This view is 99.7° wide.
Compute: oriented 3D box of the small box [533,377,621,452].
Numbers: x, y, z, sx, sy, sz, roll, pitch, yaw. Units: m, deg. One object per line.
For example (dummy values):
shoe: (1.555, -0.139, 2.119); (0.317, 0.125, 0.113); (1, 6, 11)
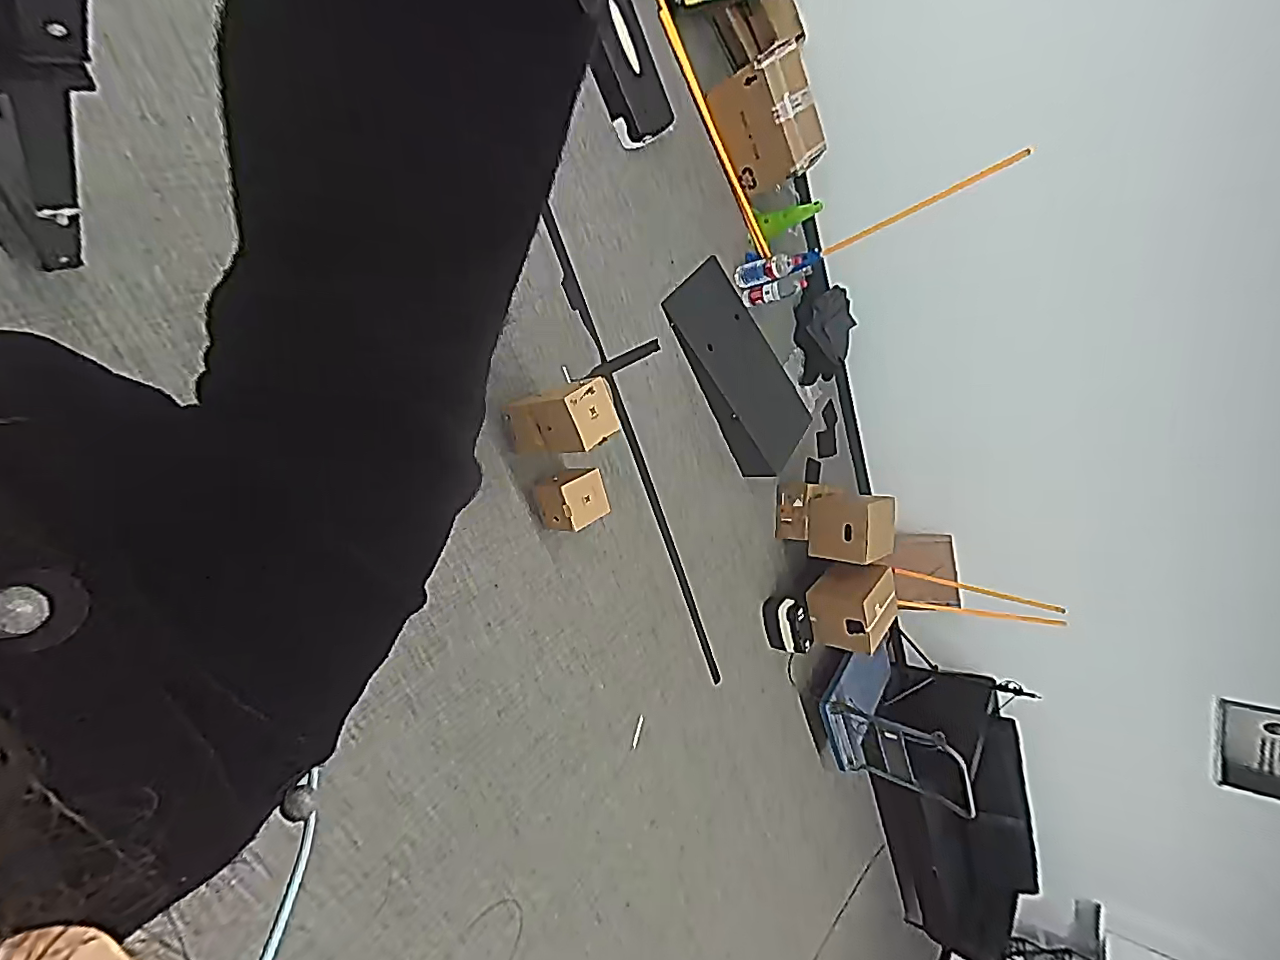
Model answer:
small box: (-0.193, -0.199, 1.652); (0.168, 0.176, 0.179); (-40, 119, -39)

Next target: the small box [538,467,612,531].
small box: (-0.230, 0.062, 1.855); (0.179, 0.176, 0.168); (-31, 112, -42)

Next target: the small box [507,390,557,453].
small box: (-0.311, -0.194, 1.766); (0.179, 0.176, 0.168); (-35, 115, -41)
